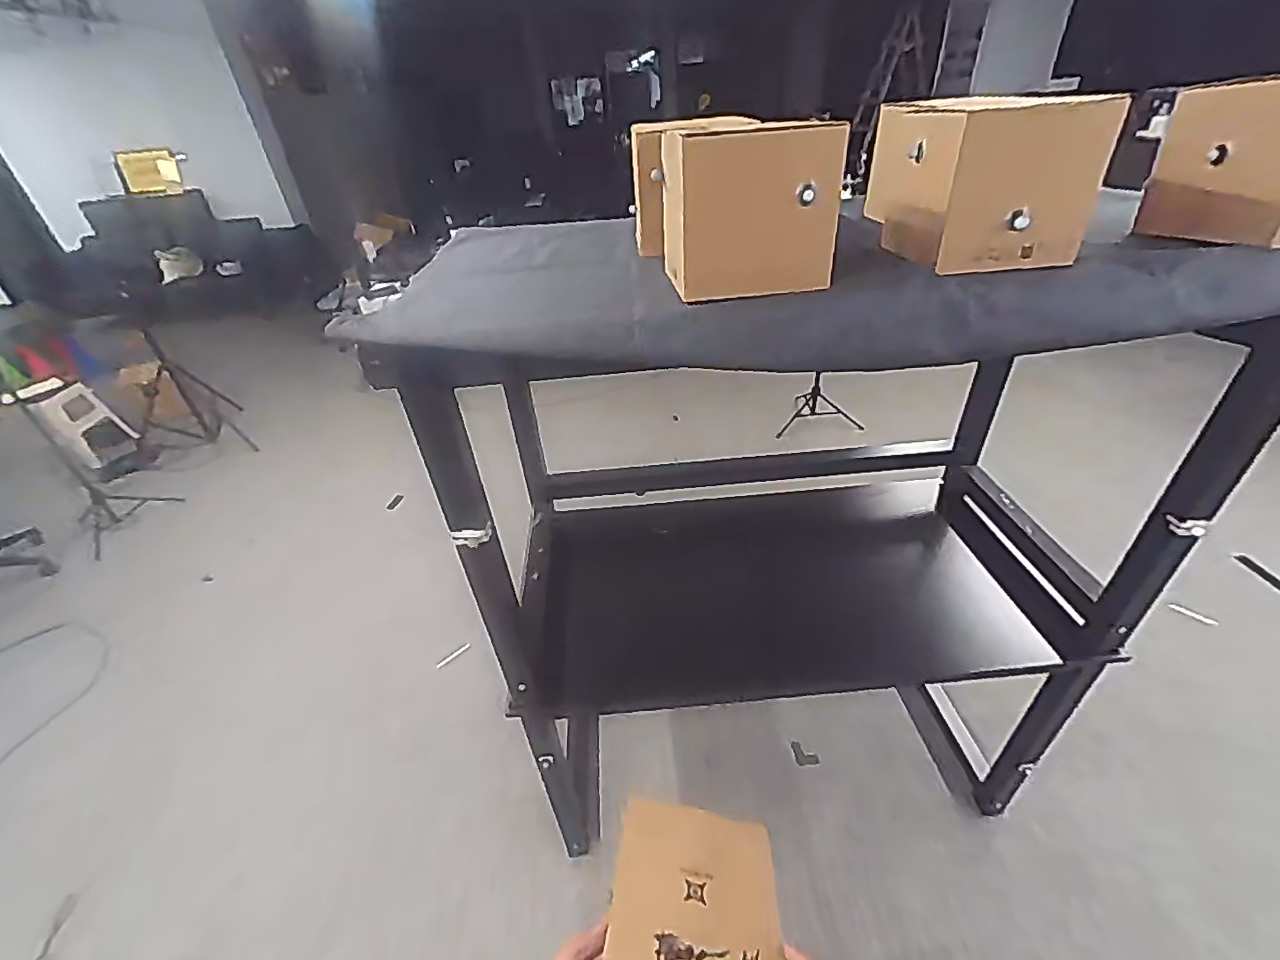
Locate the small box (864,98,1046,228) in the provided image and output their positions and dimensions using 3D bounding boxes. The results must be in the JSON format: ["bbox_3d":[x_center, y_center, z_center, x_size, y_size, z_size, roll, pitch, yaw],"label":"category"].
[{"bbox_3d":[0.478,-0.491,0.853,0.168,0.176,0.179,-5,36,-3],"label":"small box"}]

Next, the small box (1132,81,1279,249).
[{"bbox_3d":[0.766,-0.380,0.650,0.168,0.176,0.179,-8,30,-5],"label":"small box"}]

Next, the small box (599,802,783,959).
[{"bbox_3d":[0.045,0.490,0.567,0.168,0.176,0.179,10,17,5],"label":"small box"}]

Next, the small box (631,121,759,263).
[{"bbox_3d":[0.079,-0.454,0.851,0.179,0.176,0.168,-5,36,0],"label":"small box"}]

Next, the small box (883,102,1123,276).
[{"bbox_3d":[0.425,-0.361,0.675,0.168,0.176,0.179,-4,34,2],"label":"small box"}]
